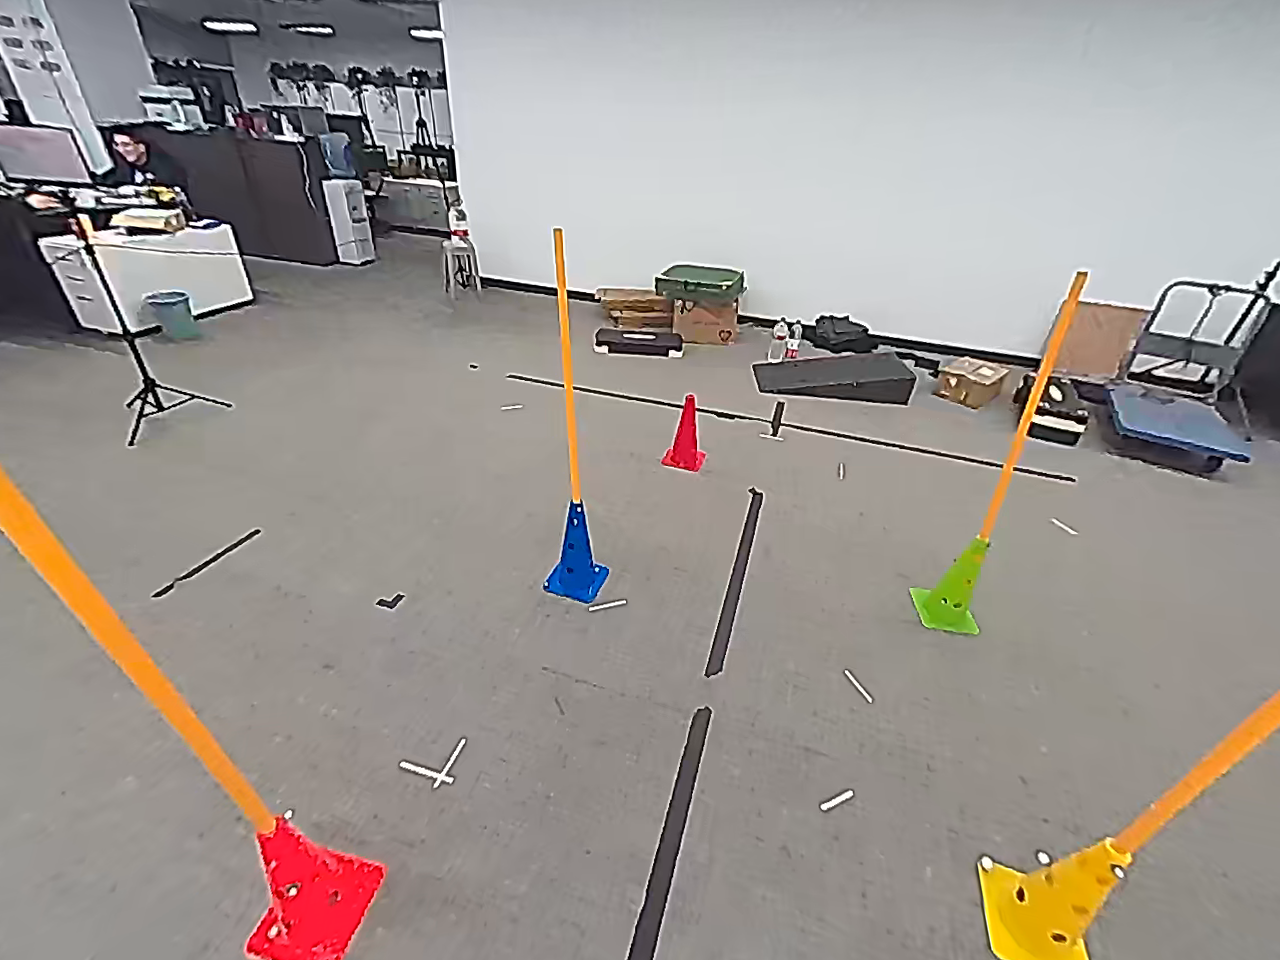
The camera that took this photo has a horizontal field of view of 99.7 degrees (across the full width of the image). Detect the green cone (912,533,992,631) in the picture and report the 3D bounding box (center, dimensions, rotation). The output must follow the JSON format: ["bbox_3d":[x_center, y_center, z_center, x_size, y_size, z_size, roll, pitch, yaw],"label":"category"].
[{"bbox_3d":[1.138,0.332,1.904,0.200,0.368,0.202,7,35,4],"label":"green cone"}]

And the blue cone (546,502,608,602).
[{"bbox_3d":[-0.223,0.234,1.927,0.193,0.380,0.192,14,35,15],"label":"blue cone"}]

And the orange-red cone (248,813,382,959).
[{"bbox_3d":[-0.667,0.752,1.050,0.199,0.360,0.198,11,34,8],"label":"orange-red cone"}]
